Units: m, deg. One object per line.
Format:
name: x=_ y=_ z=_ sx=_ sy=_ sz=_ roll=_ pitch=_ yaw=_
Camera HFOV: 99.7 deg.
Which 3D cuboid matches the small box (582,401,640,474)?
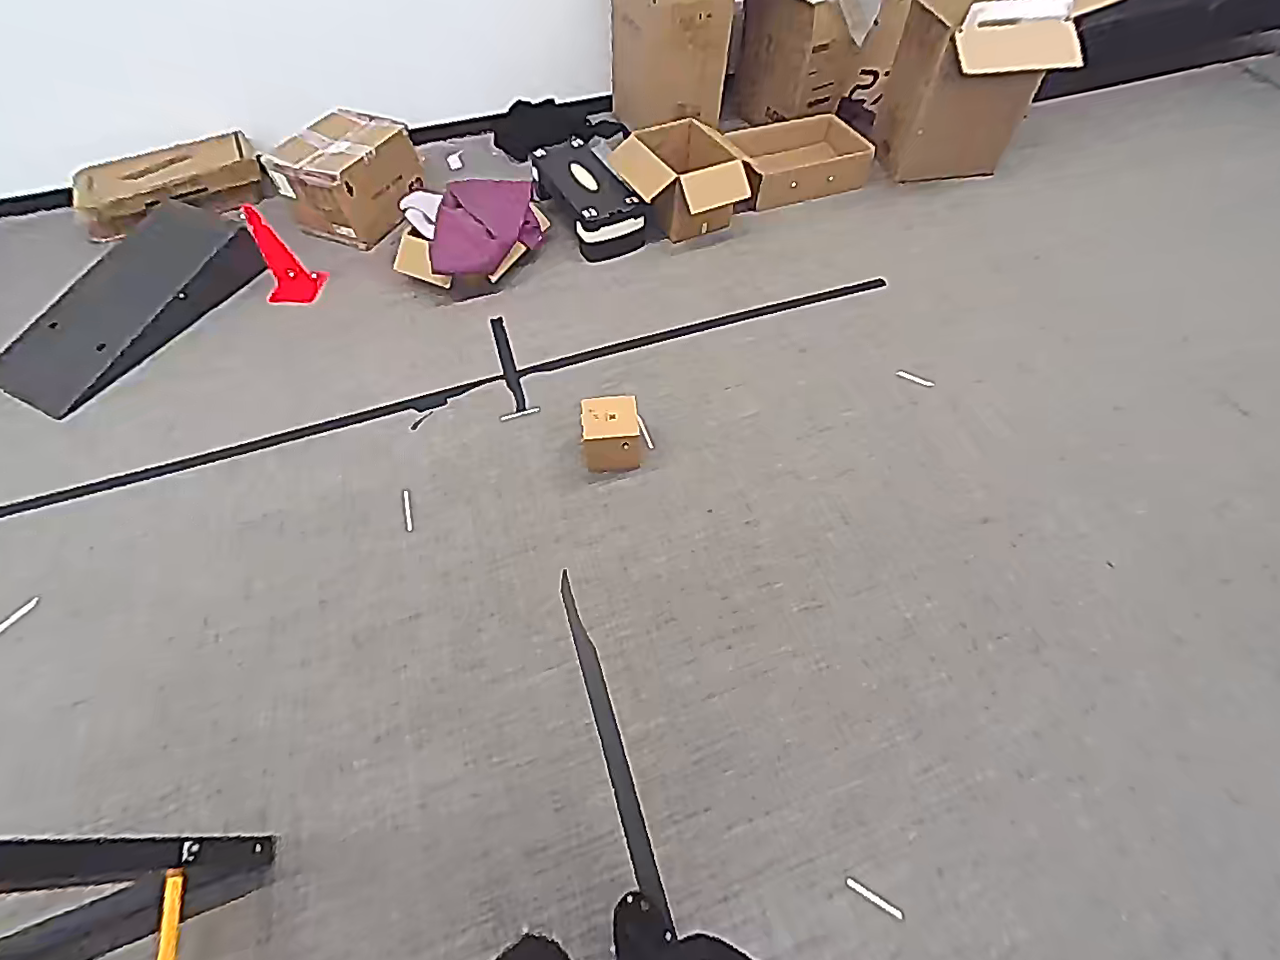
small box: x=-0.094 y=-0.135 z=1.754 sx=0.179 sy=0.176 sz=0.168 roll=-5 pitch=56 yaw=-3
